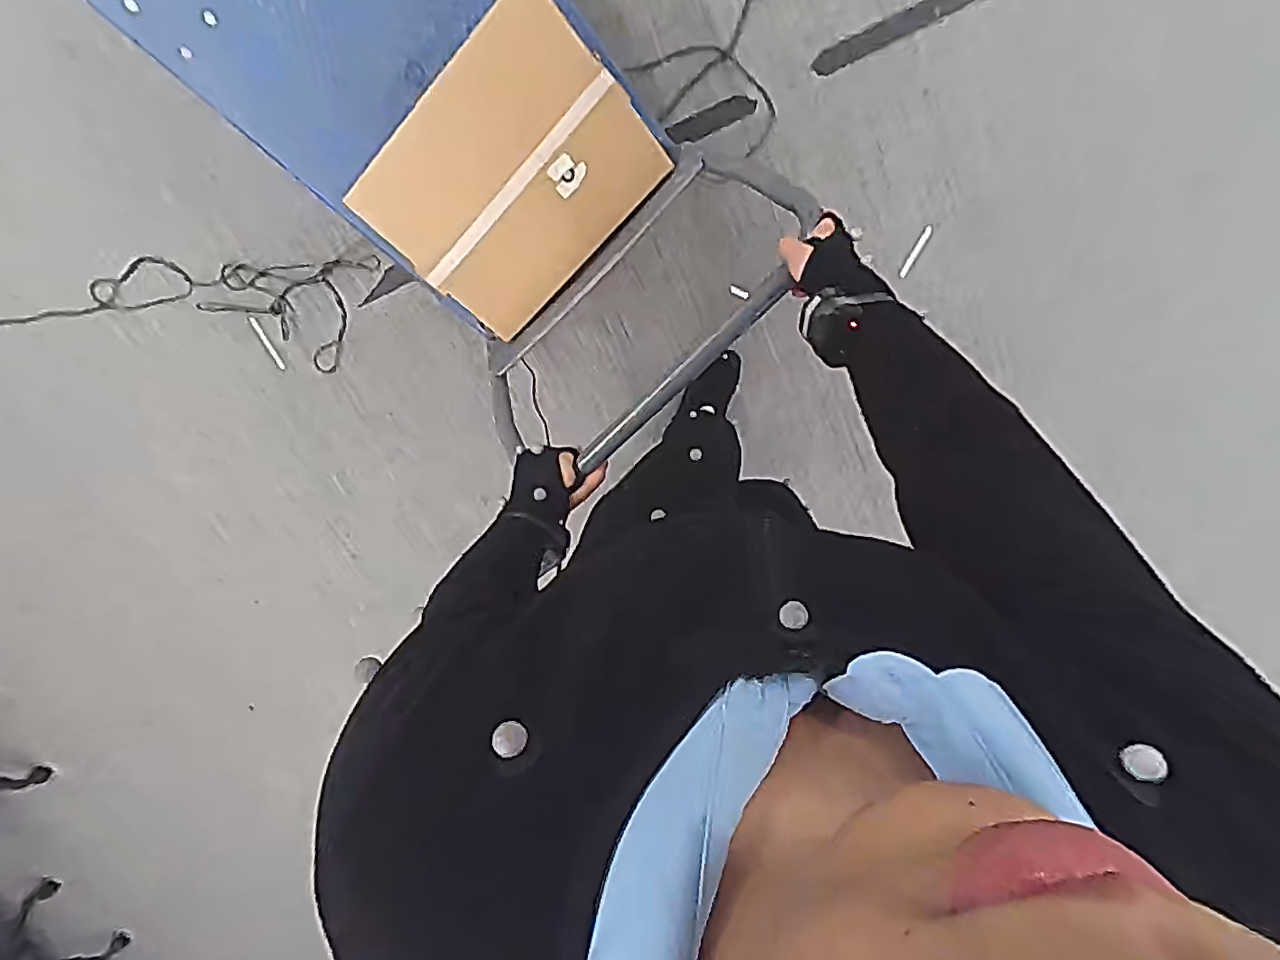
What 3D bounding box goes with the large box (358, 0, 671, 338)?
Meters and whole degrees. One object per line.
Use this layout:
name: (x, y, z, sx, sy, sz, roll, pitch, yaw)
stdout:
large box: (-0.220, -0.538, 0.962, 0.408, 0.320, 0.320, -43, 123, 13)
